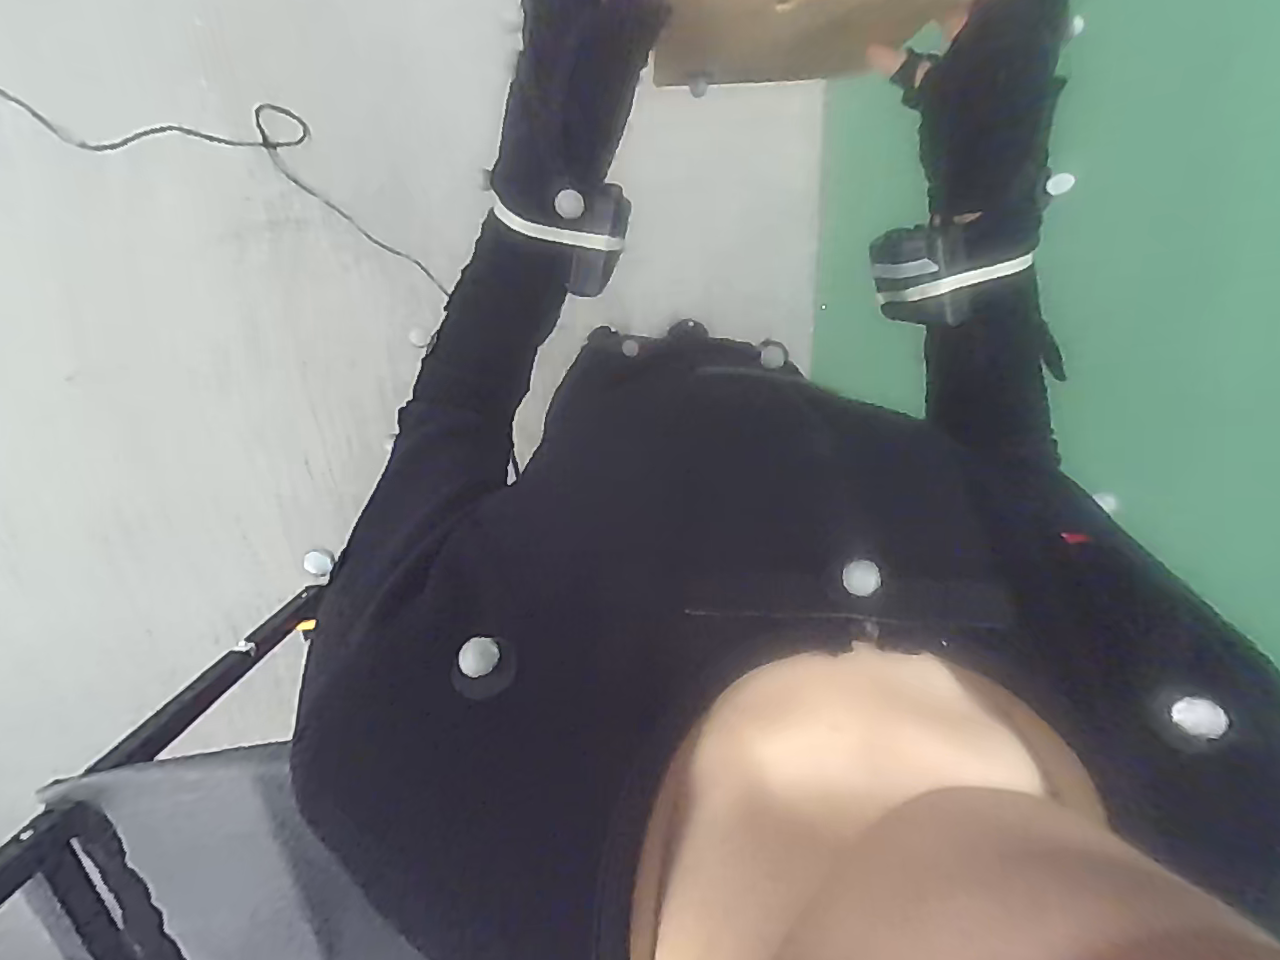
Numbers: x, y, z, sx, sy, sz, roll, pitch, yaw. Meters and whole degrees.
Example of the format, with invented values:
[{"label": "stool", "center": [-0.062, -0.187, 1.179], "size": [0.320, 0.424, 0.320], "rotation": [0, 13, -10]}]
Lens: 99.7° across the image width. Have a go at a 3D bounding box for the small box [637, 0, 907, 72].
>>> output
[{"label": "small box", "center": [0.079, -0.359, 0.307], "size": [0.168, 0.176, 0.179], "rotation": [-2, 111, 1]}]
